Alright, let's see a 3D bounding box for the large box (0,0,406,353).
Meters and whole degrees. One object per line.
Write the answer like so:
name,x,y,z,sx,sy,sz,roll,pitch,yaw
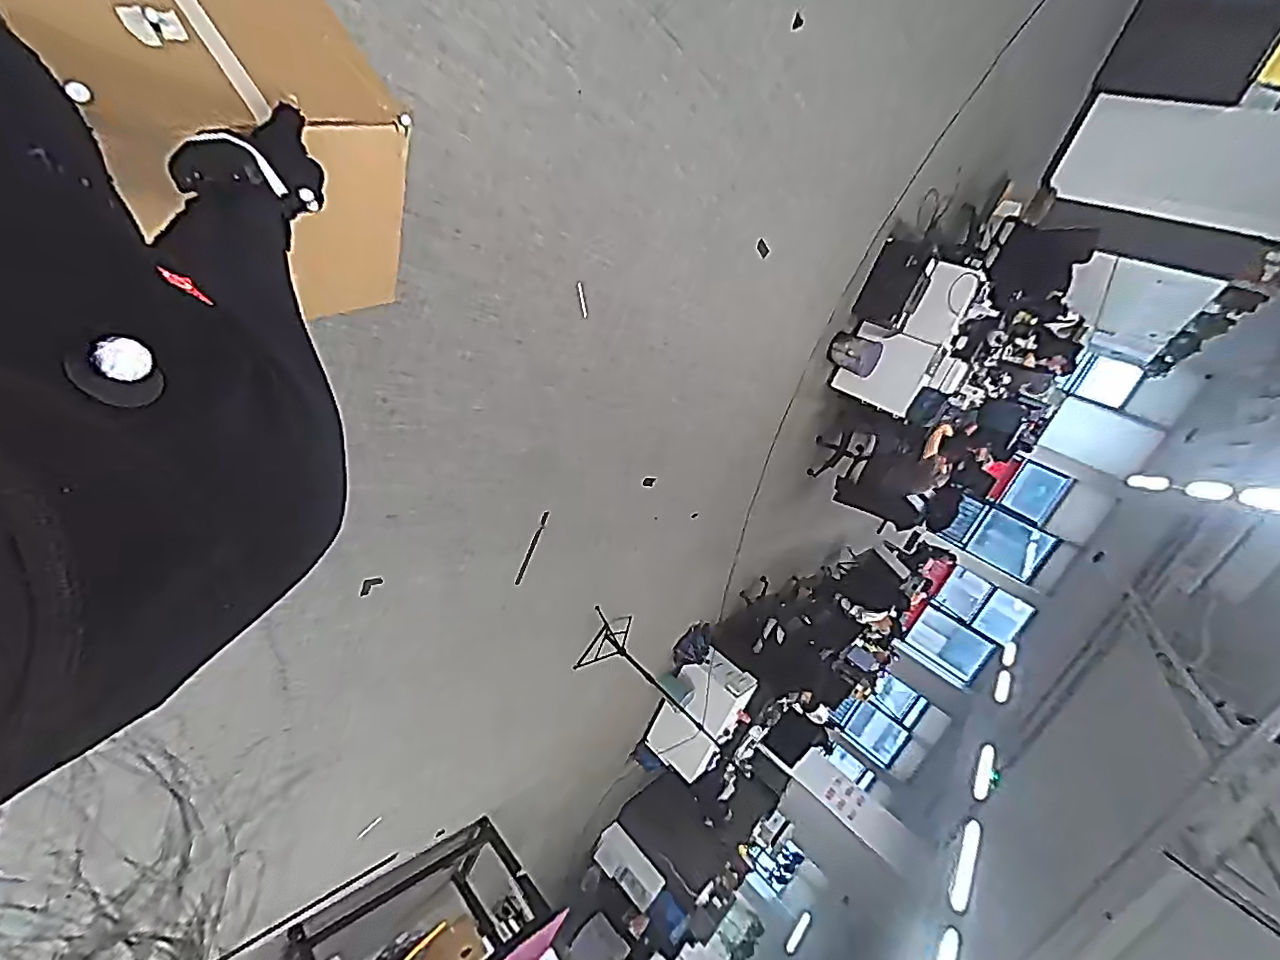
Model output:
large box,-0.571,-0.449,0.716,0.320,0.408,0.320,-30,172,-35
